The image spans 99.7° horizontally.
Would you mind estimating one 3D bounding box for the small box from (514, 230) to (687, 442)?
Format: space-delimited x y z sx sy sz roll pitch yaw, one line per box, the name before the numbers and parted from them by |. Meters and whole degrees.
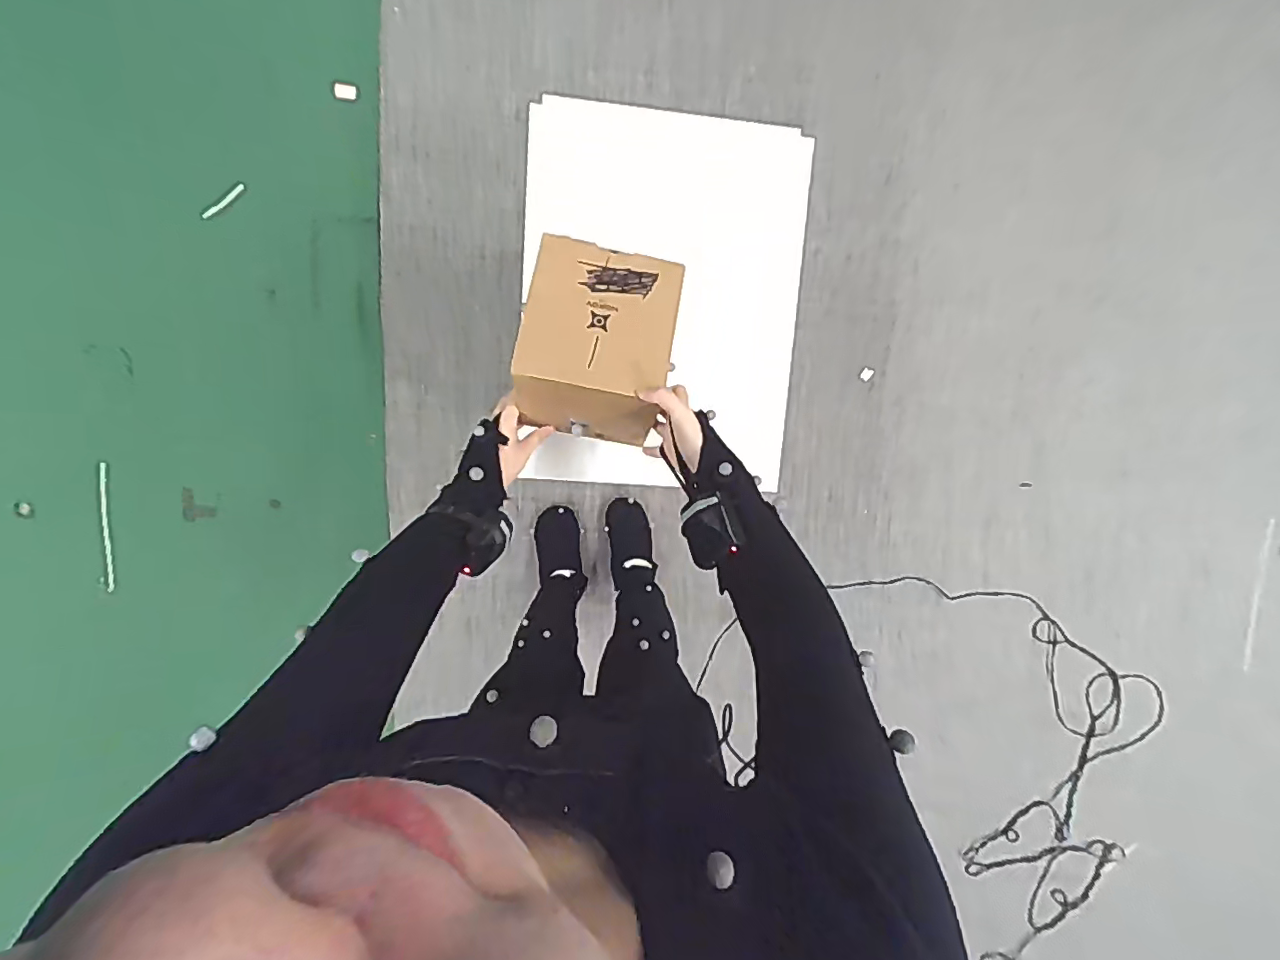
small box | -0.050 -0.164 0.666 0.168 0.176 0.179 11 77 -5
